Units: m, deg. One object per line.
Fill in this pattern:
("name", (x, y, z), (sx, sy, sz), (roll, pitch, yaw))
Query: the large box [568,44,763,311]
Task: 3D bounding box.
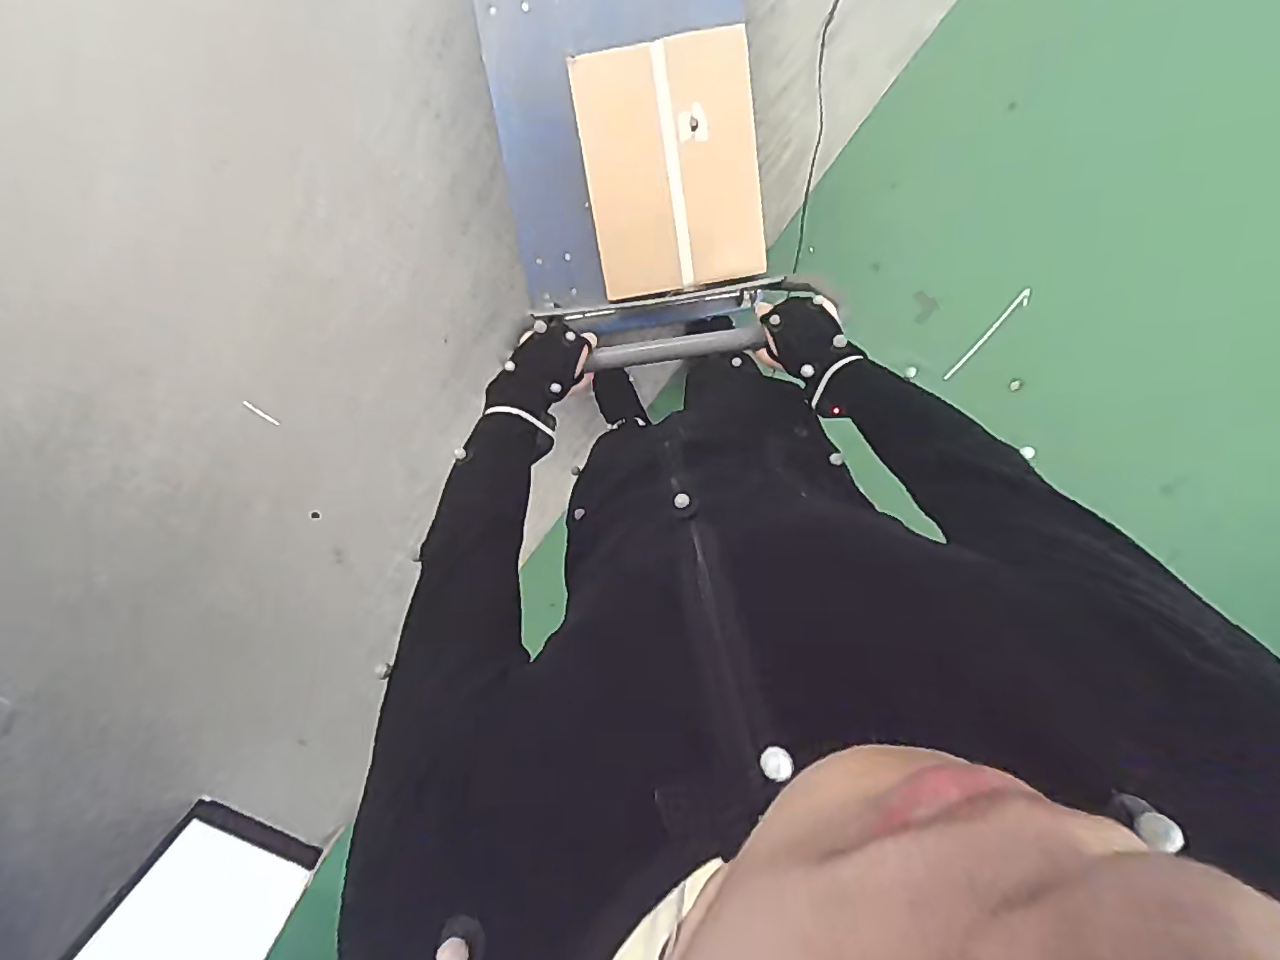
("large box", (0.055, -0.596, 1.153), (0.320, 0.320, 0.408), (-10, 106, 1))
